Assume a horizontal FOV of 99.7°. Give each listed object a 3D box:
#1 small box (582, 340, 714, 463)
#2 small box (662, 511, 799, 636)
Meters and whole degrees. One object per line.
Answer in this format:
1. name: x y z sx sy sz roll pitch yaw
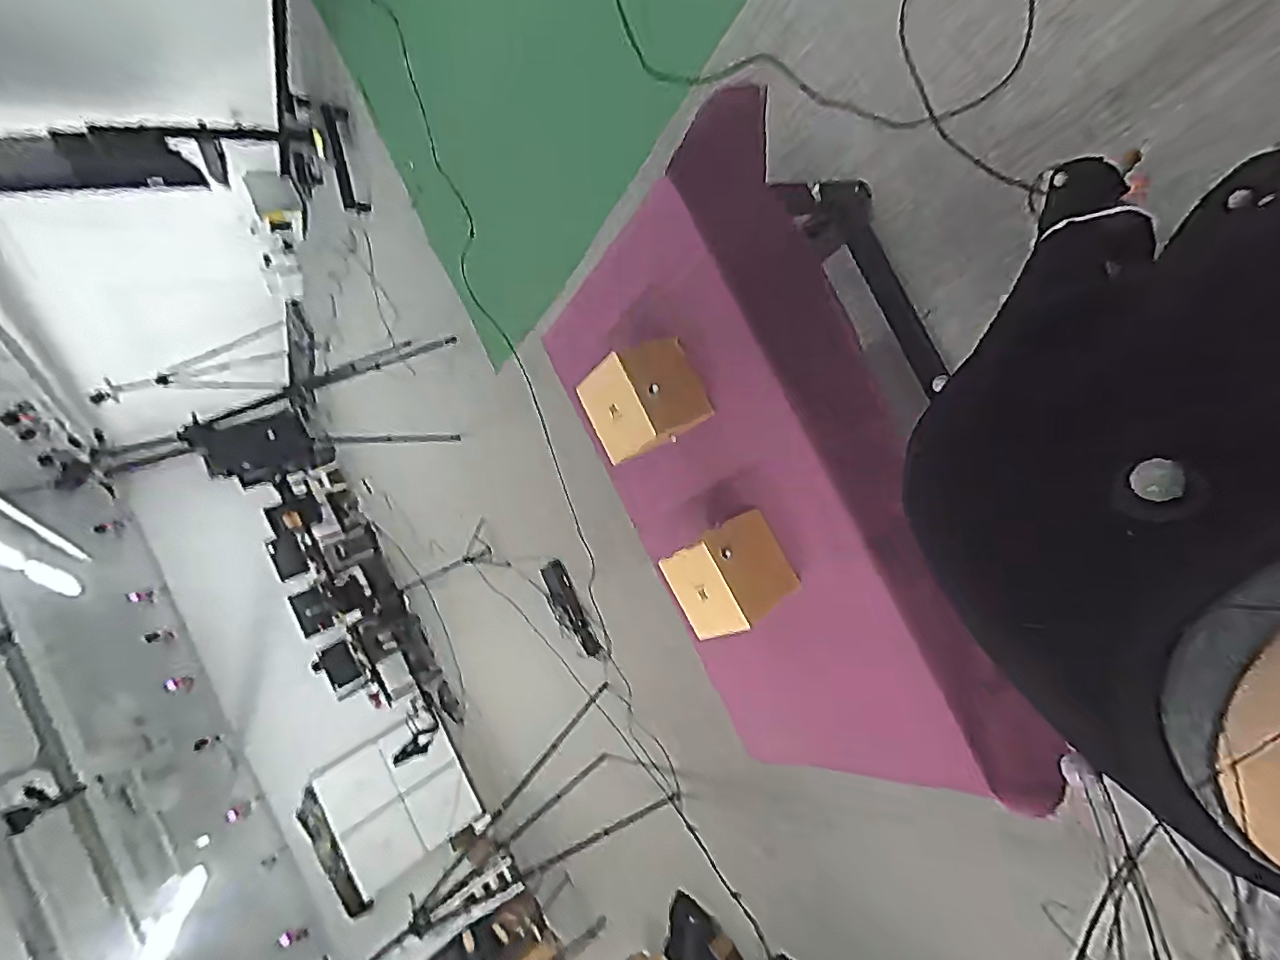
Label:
1. small box: 0.018 -0.159 1.091 0.168 0.176 0.179 -29 86 53
2. small box: 0.183 0.187 1.084 0.168 0.176 0.179 -37 80 53
